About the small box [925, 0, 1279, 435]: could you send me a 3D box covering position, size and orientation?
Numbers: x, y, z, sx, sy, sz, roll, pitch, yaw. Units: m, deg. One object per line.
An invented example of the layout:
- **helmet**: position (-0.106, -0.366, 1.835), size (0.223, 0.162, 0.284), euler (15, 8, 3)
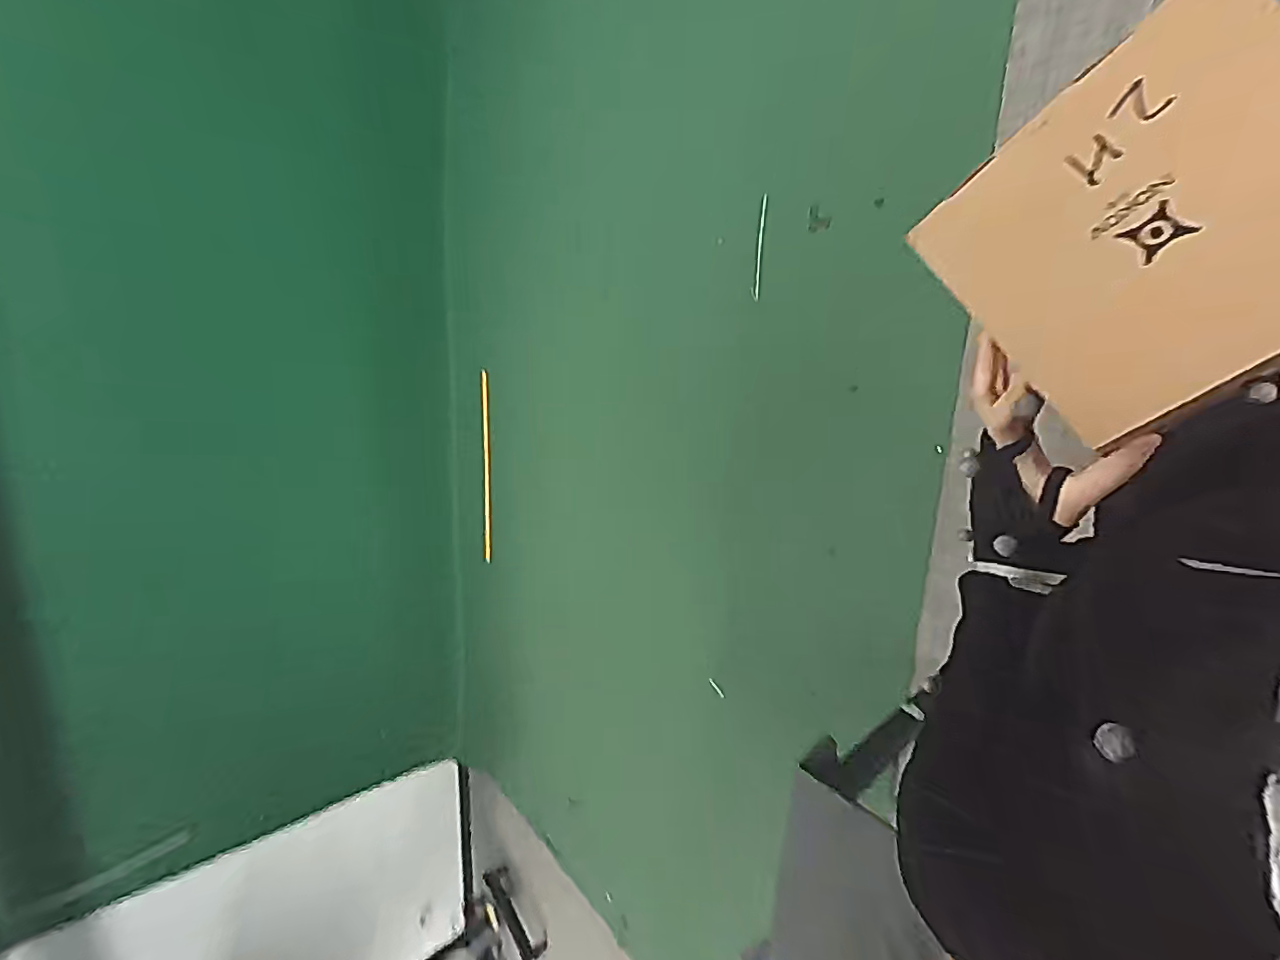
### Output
- **small box**: position (0.325, -0.143, 0.338), size (0.168, 0.176, 0.179), euler (-40, 64, 36)
